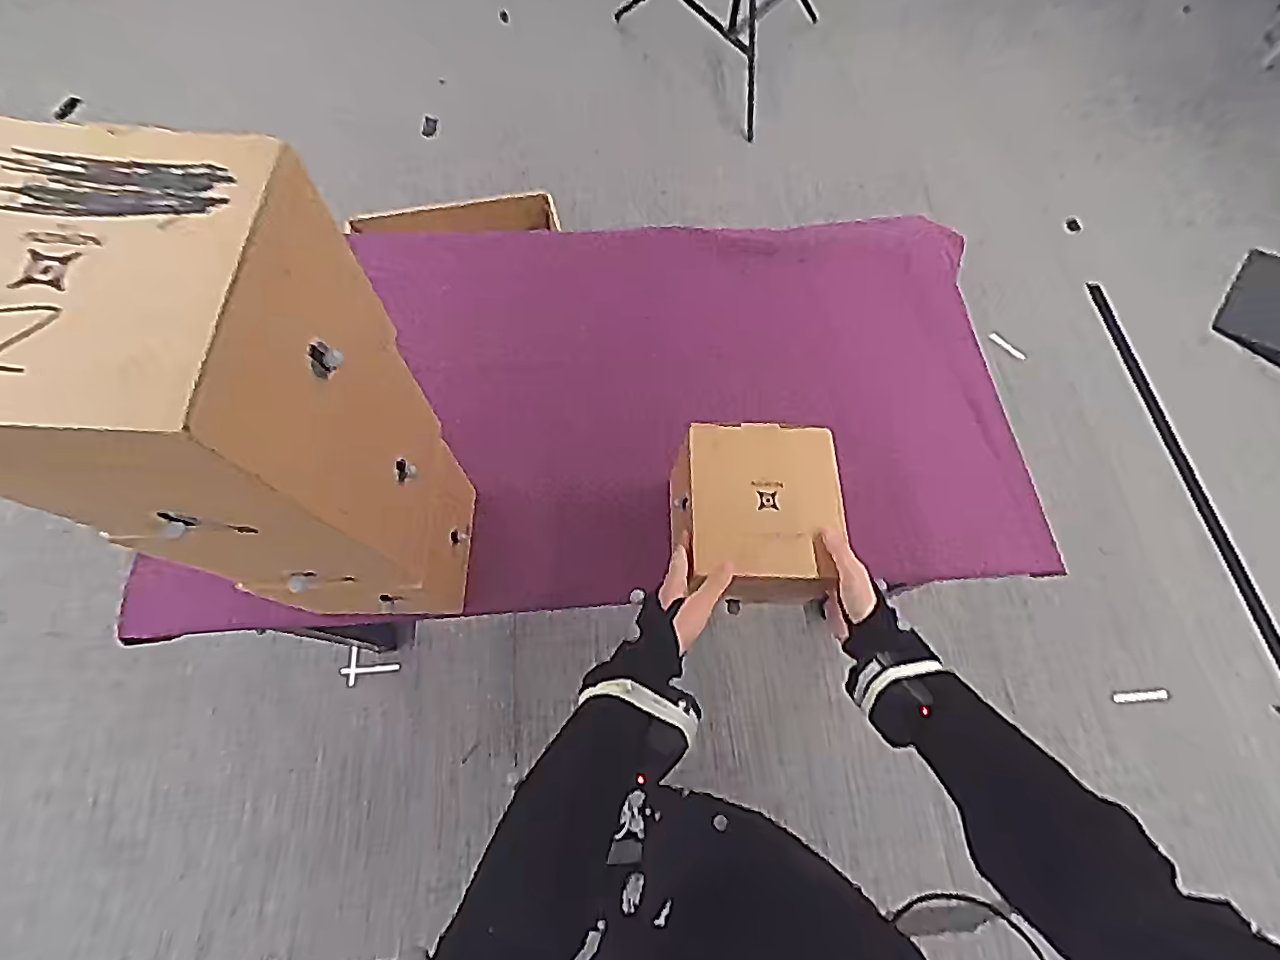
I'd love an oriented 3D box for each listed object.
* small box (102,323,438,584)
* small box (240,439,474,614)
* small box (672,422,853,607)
[{"bbox_3d":[-0.287,-0.012,0.473,0.168,0.176,0.179,0,69,-4],"label":"small box"},{"bbox_3d":[-0.299,0.058,0.621,0.179,0.176,0.168,1,68,-3],"label":"small box"},{"bbox_3d":[0.130,0.049,0.648,0.168,0.176,0.179,2,68,-4],"label":"small box"}]
